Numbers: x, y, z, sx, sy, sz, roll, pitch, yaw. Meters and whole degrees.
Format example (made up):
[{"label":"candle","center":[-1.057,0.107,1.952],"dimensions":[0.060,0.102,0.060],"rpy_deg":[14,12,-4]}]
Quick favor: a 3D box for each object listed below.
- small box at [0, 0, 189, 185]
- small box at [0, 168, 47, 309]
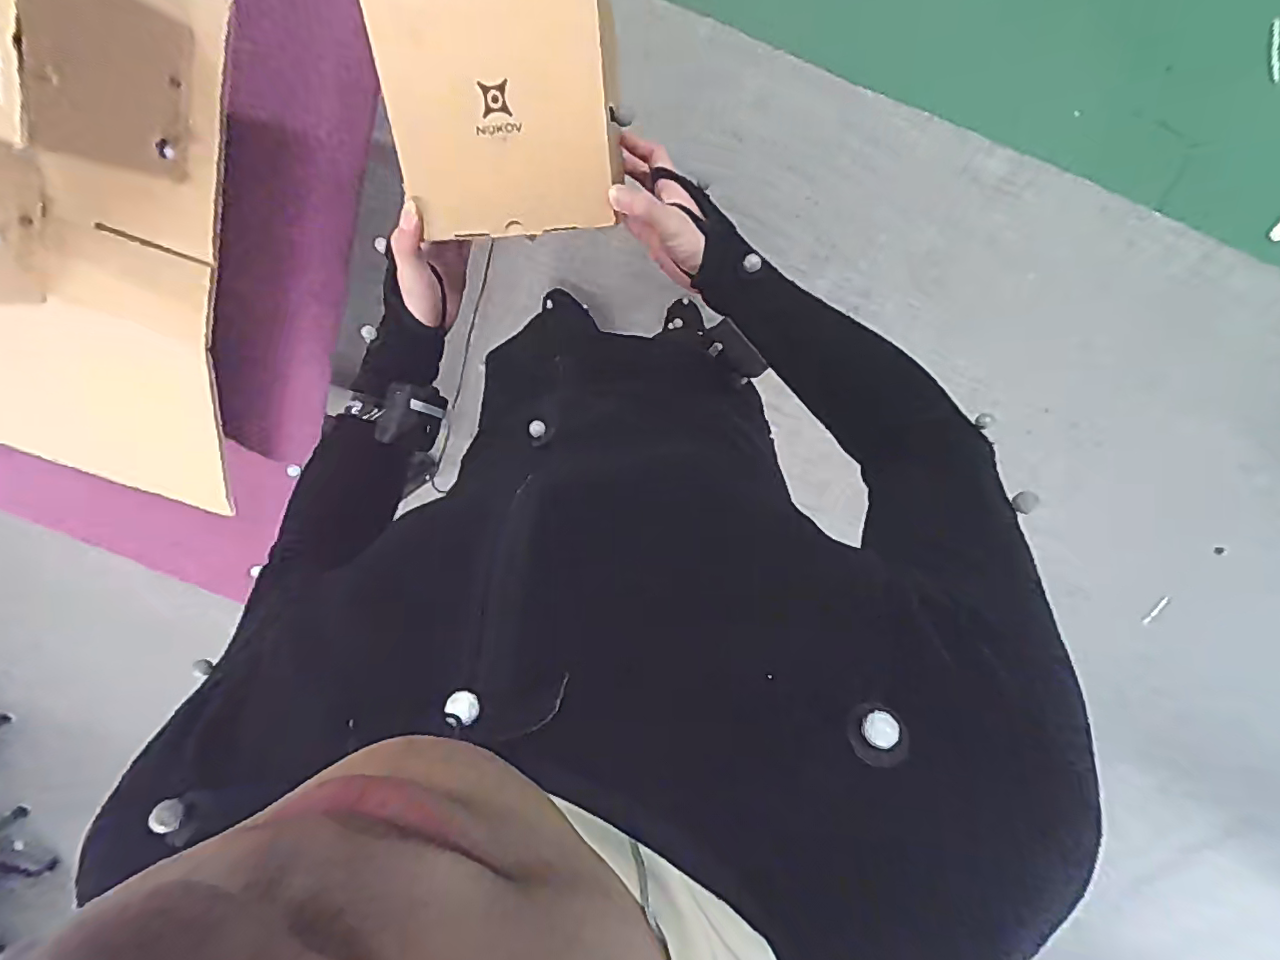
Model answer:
[{"label":"small box","center":[-0.606,-0.420,0.545],"dimensions":[0.179,0.176,0.168],"rpy_deg":[20,108,0]},{"label":"small box","center":[-0.843,-0.296,0.606],"dimensions":[0.179,0.176,0.168],"rpy_deg":[20,108,-1]}]
